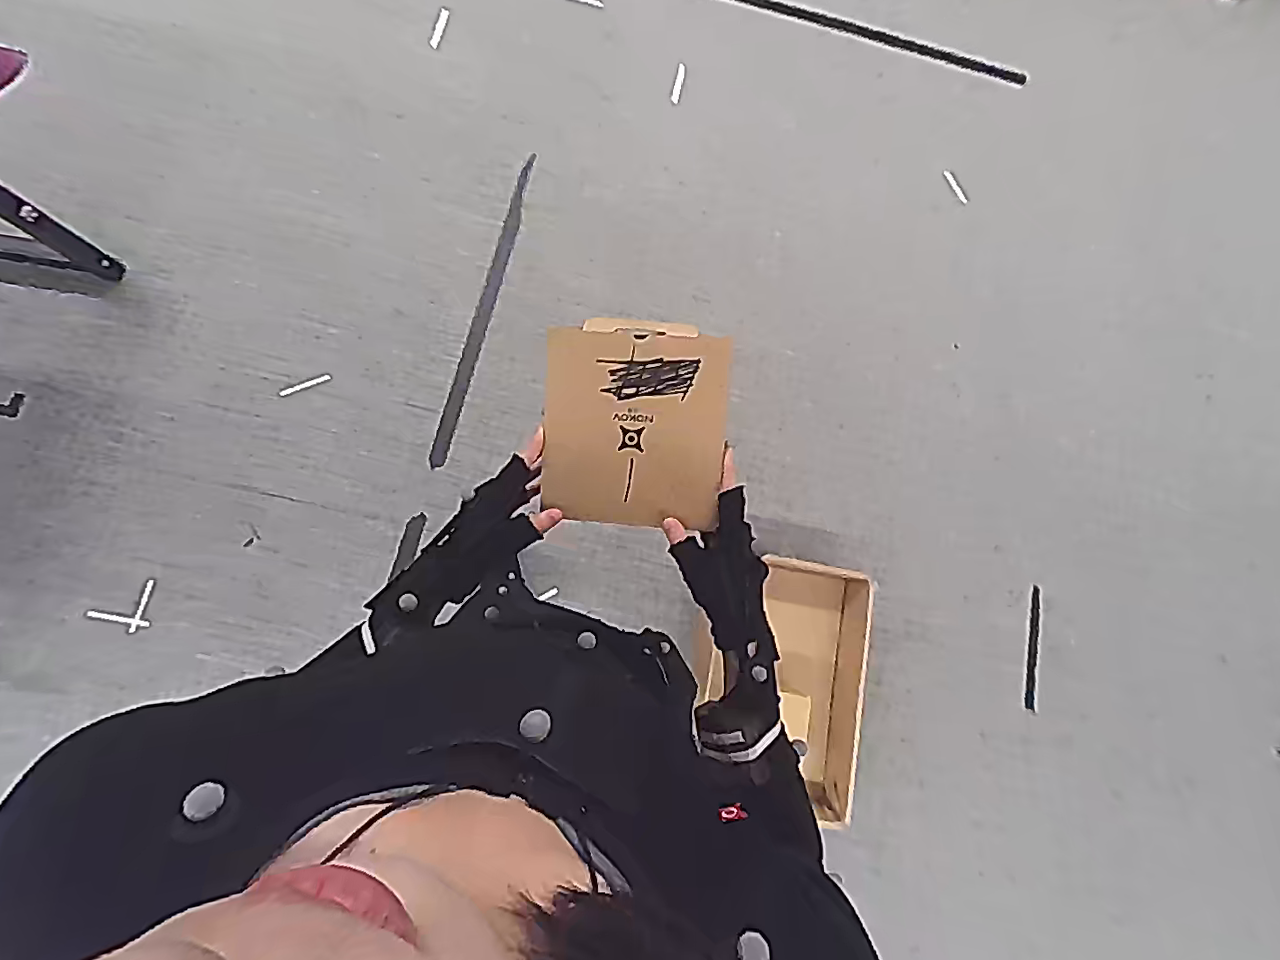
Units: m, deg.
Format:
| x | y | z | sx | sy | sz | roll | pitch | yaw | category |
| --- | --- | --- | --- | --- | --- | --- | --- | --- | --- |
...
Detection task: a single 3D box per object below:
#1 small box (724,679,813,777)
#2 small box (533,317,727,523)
| x | y | z | sx | sy | sz | roll | pitch | yaw | category |
| --- | --- | --- | --- | --- | --- | --- | --- | --- | --- |
| 0.318 | 0.622 | 1.372 | 0.168 | 0.176 | 0.179 | 12 | 77 | -4 | small box |
| -0.005 | -0.057 | 0.560 | 0.168 | 0.176 | 0.179 | 4 | 93 | 5 | small box |
